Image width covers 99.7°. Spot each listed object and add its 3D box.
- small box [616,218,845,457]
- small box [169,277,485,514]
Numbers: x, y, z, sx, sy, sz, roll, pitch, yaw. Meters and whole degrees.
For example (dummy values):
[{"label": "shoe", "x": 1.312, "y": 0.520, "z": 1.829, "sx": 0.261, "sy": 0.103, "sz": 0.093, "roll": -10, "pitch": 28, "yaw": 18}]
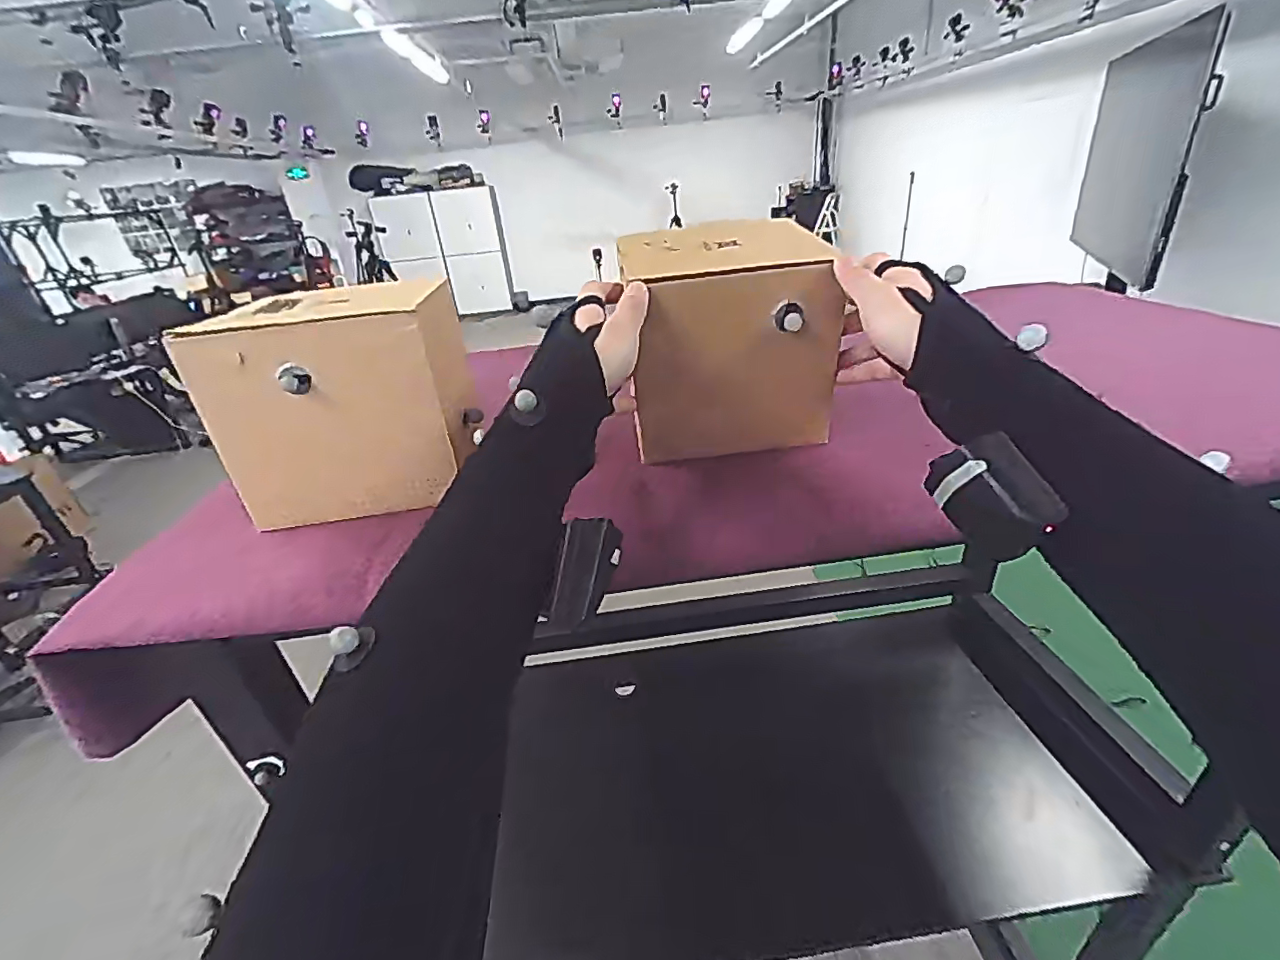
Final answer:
[{"label": "small box", "x": 0.073, "y": -0.139, "z": 0.520, "sx": 0.179, "sy": 0.176, "sz": 0.168, "roll": -7, "pitch": 35, "yaw": 0}, {"label": "small box", "x": -0.256, "y": -0.082, "z": 0.498, "sx": 0.179, "sy": 0.176, "sz": 0.168, "roll": -8, "pitch": 28, "yaw": -5}]
